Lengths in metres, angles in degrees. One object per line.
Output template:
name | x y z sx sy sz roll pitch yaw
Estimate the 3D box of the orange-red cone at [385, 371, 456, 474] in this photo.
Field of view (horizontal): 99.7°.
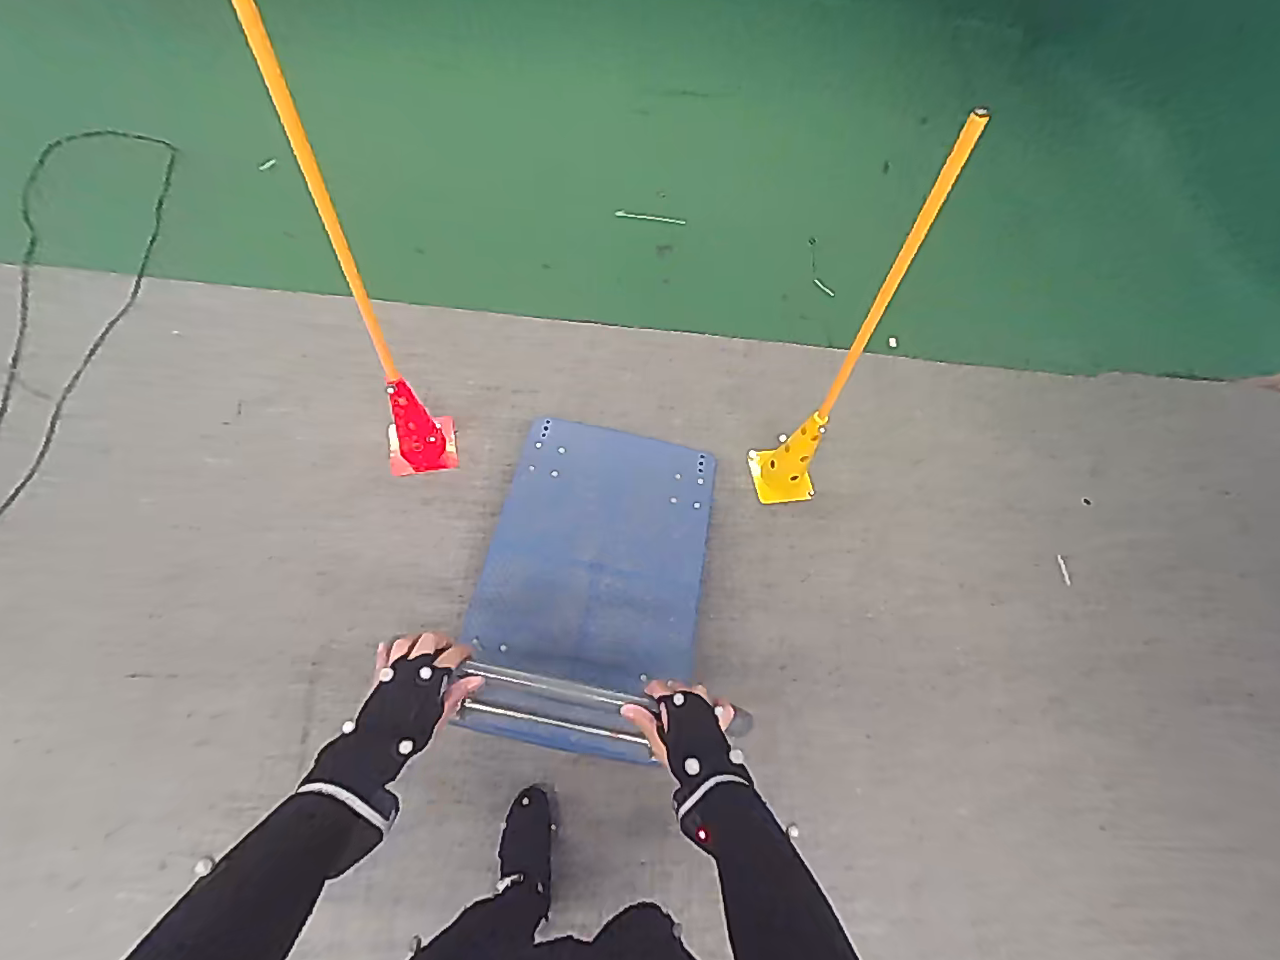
orange-red cone | -0.679 -0.191 1.585 0.199 0.360 0.198 -9 64 -11
